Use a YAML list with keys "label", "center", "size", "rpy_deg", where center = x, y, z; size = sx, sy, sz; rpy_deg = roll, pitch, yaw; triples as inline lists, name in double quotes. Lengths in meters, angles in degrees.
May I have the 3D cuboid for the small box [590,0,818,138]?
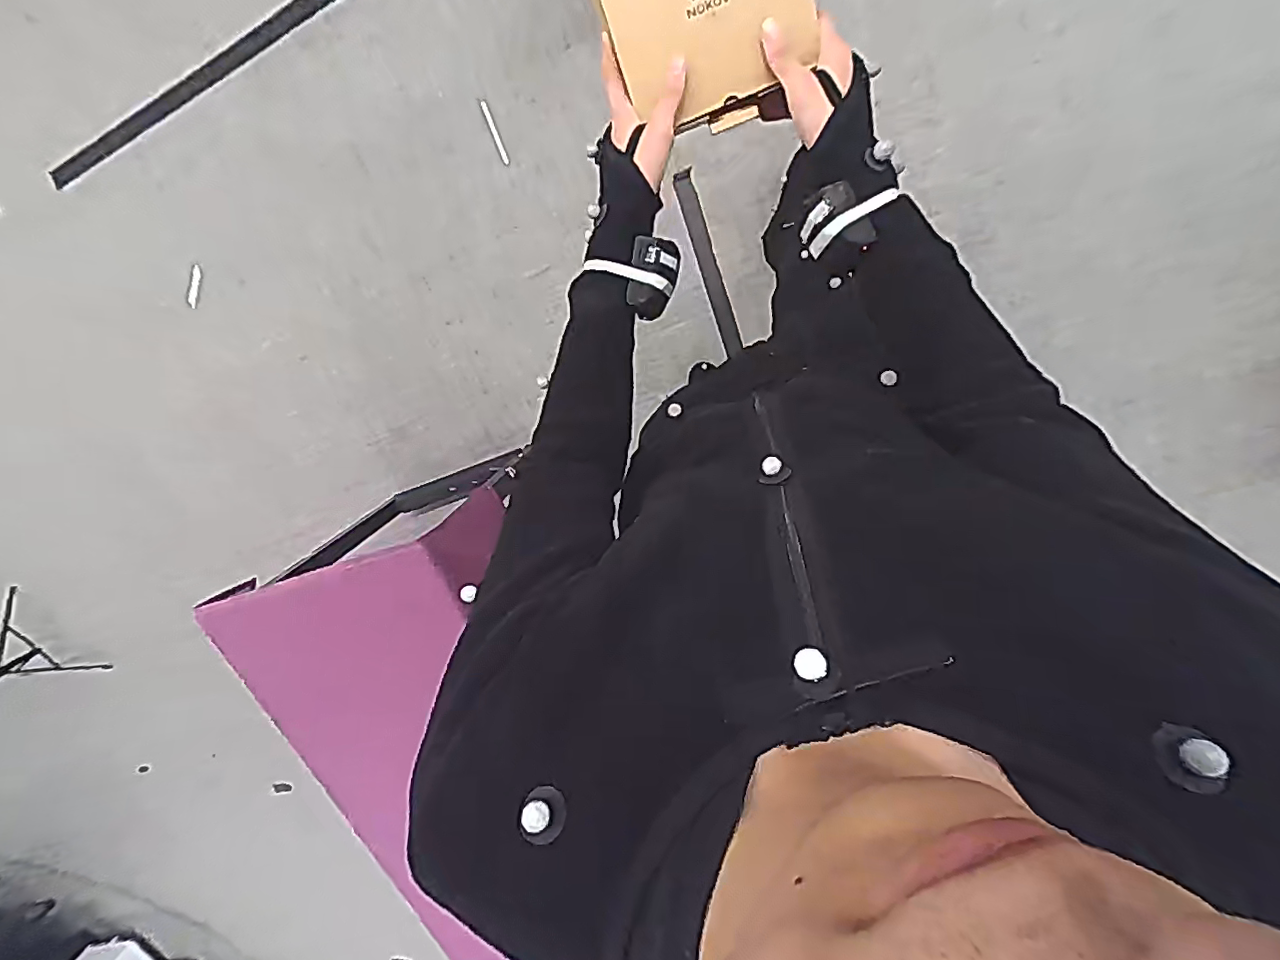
- label: "small box"
  center: [0.044, -0.439, 0.495]
  size: [0.168, 0.176, 0.179]
  rpy_deg: [-19, 119, 8]
